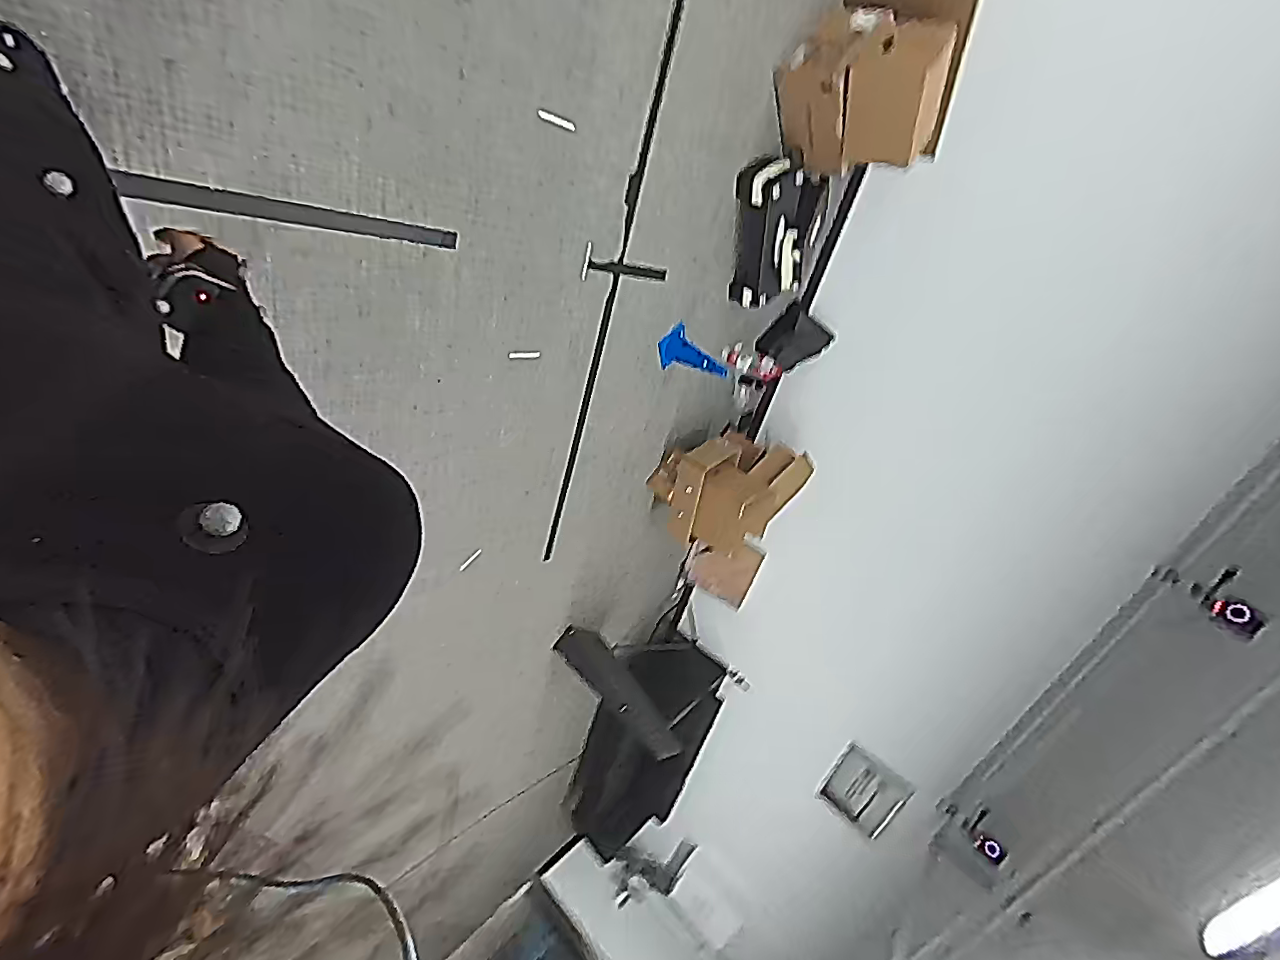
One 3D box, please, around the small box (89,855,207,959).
[{"bbox_3d":[-1.158,1.044,1.276,0.179,0.176,0.168,-11,128,-51],"label":"small box"}]
